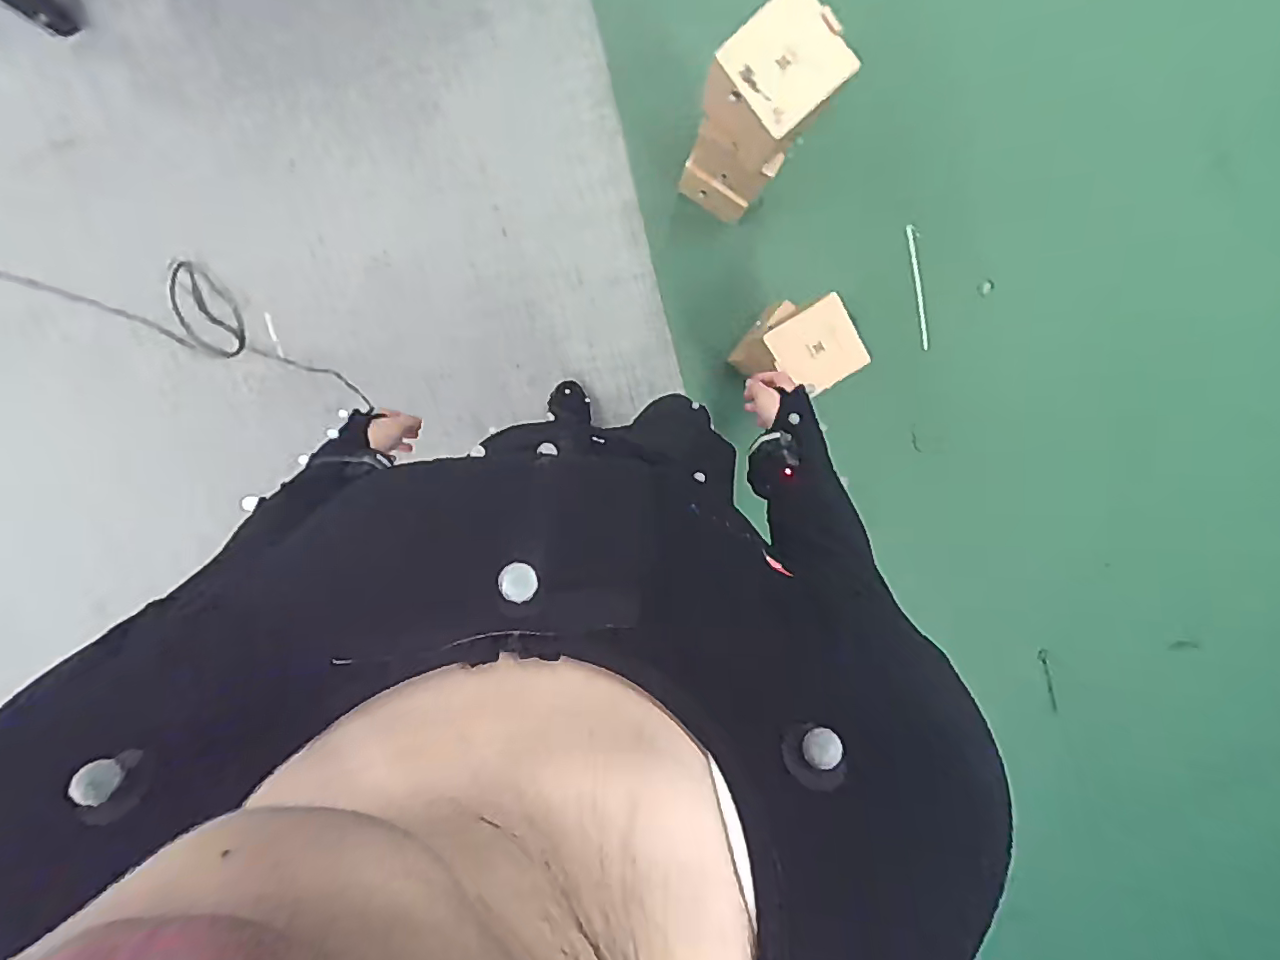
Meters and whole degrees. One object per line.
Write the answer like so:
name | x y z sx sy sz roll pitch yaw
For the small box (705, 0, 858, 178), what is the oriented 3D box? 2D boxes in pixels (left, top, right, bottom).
small box | 0.232 -0.672 0.940 0.179 0.176 0.168 -39 99 7

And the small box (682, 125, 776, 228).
small box | 0.209 -0.724 1.264 0.168 0.176 0.179 30 99 -7

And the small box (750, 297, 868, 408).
small box | 0.358 -0.275 1.190 0.179 0.176 0.168 -32 101 4

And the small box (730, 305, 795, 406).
small box | 0.345 -0.308 1.348 0.168 0.176 0.179 37 99 -8
